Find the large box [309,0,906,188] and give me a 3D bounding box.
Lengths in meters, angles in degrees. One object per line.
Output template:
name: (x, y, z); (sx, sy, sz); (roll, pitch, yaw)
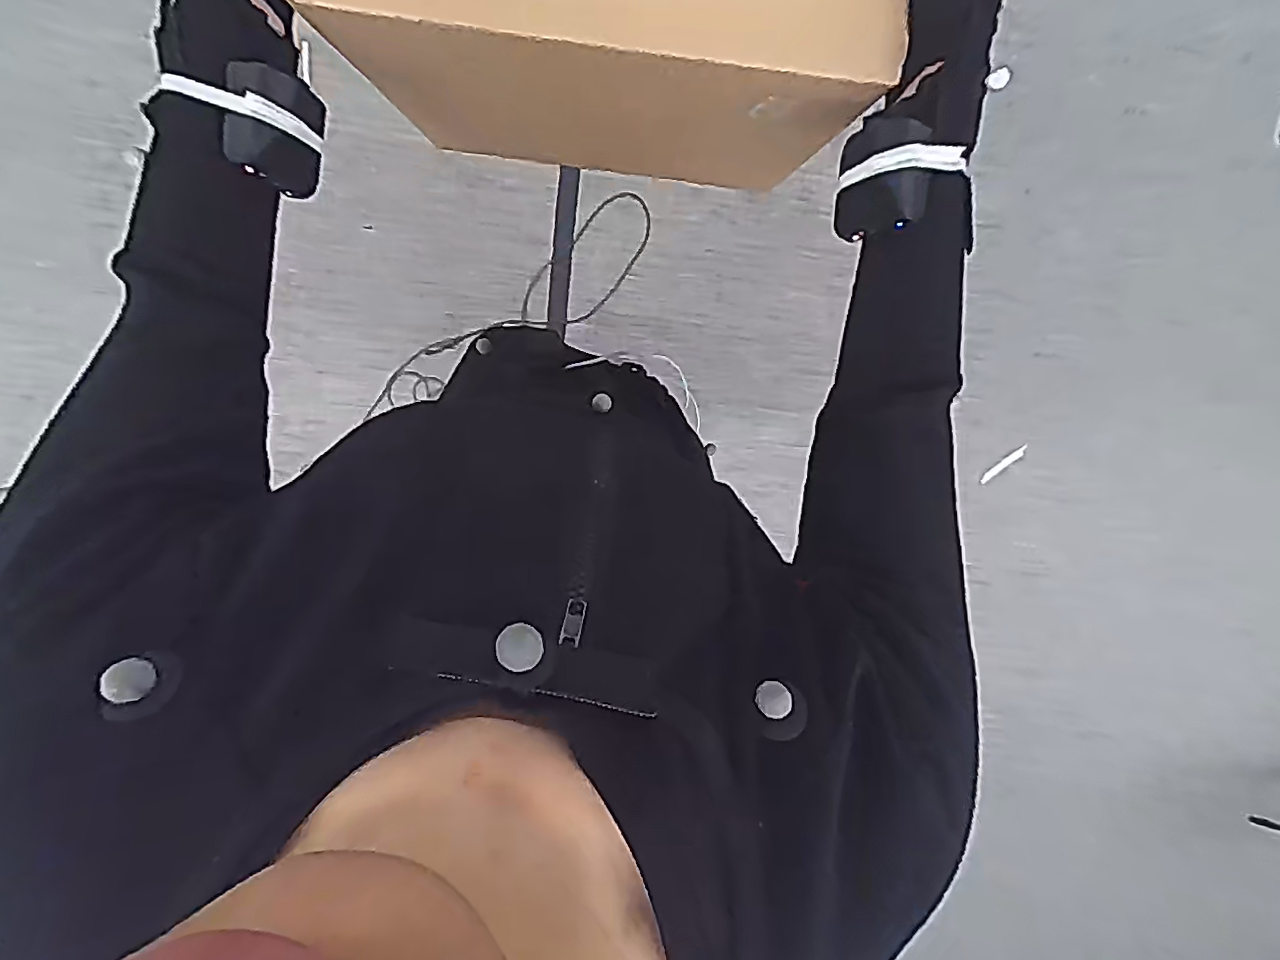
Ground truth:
large box: (-0.016, -0.476, 0.468); (0.408, 0.320, 0.320); (5, 107, -5)
